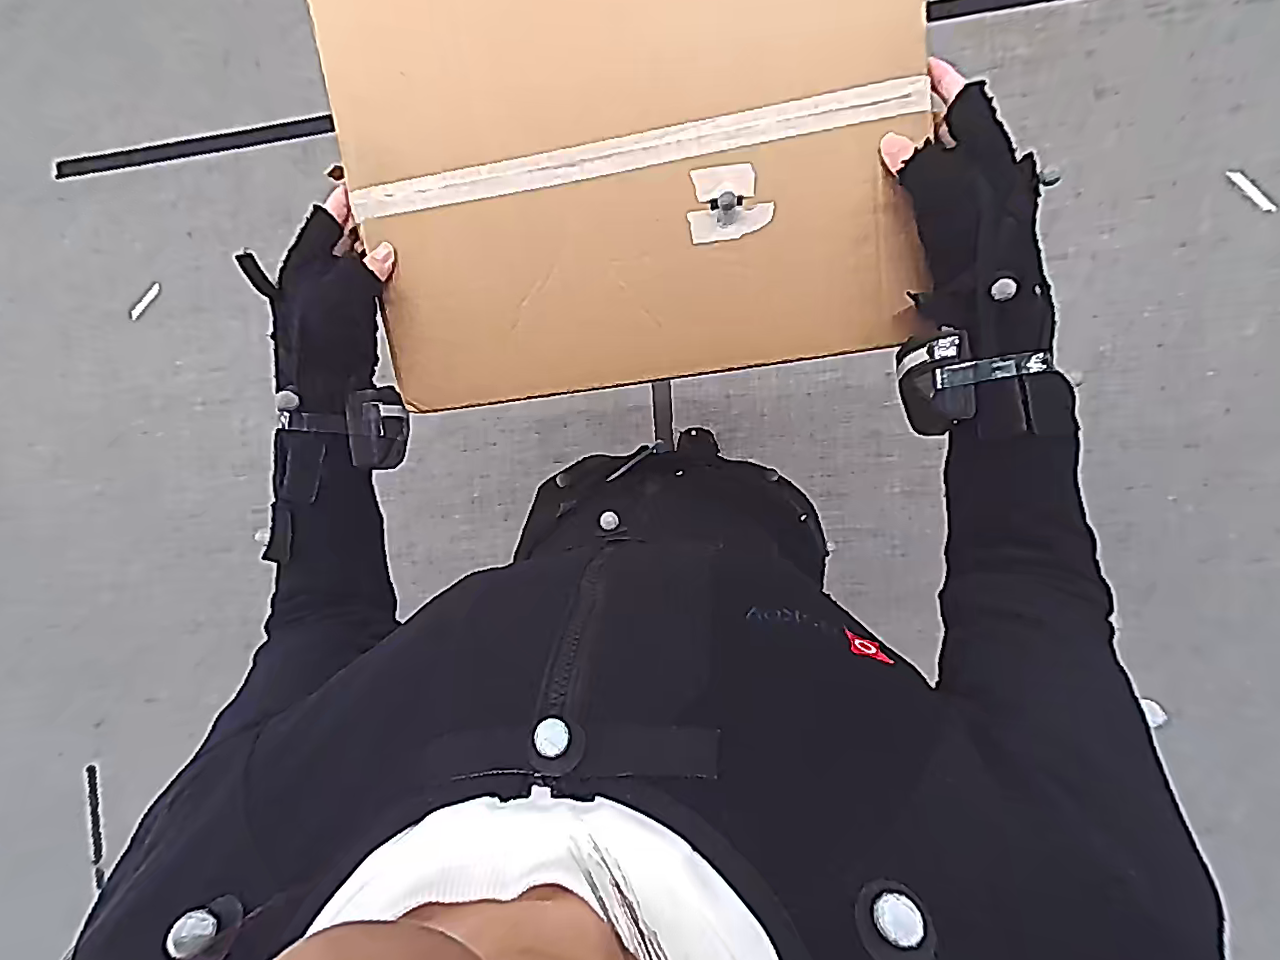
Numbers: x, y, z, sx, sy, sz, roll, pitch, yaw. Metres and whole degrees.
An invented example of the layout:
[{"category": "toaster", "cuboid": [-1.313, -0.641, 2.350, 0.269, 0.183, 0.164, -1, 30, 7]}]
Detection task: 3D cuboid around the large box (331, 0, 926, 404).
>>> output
[{"category": "large box", "cuboid": [0.005, -0.269, 0.538, 0.408, 0.320, 0.320, -7, 103, 7]}]
